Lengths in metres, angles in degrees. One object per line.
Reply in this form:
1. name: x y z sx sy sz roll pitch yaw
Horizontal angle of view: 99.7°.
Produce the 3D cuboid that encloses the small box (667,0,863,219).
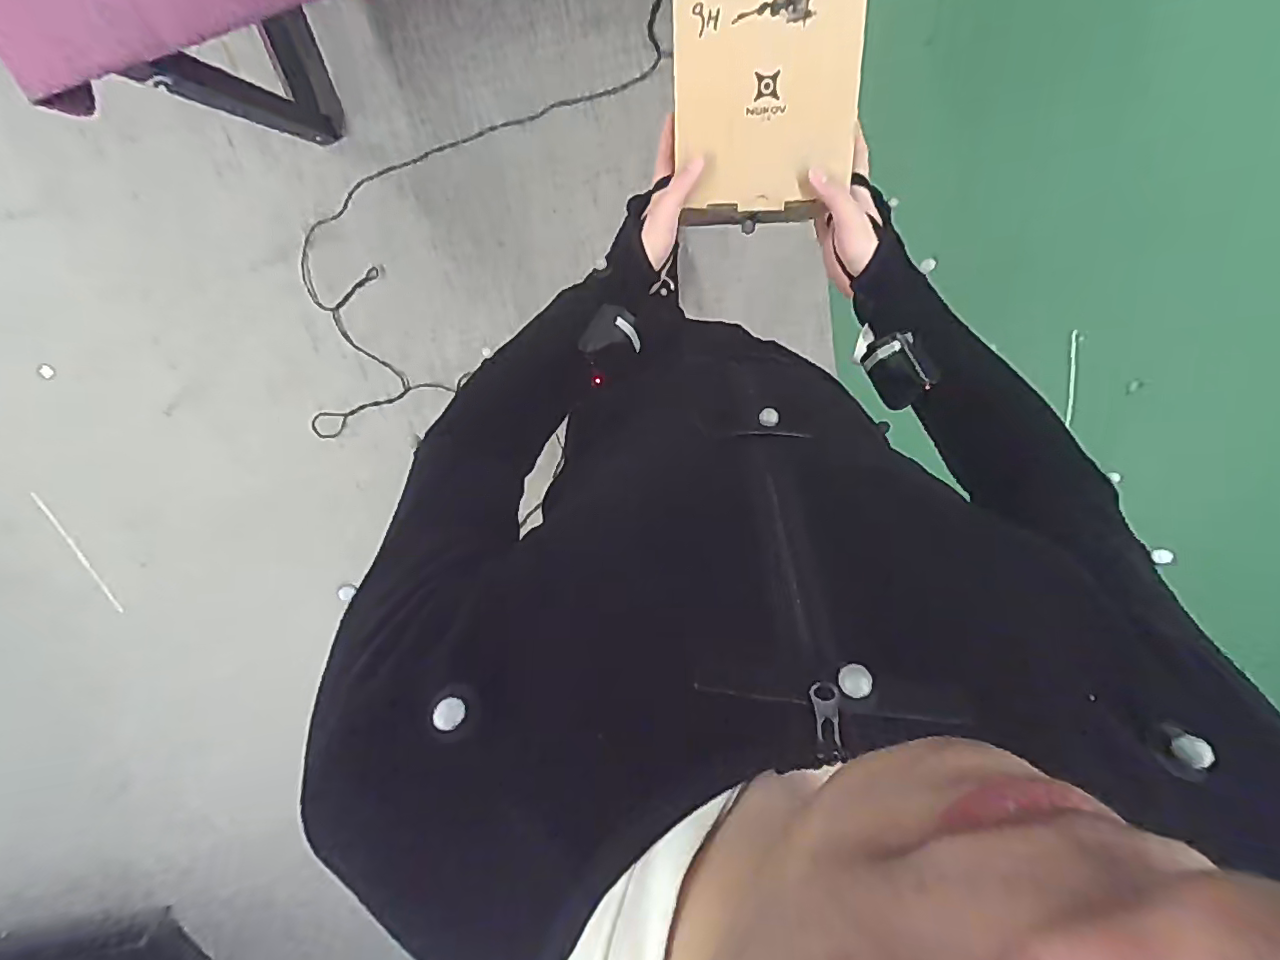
1. small box: 0.113 -0.370 0.554 0.168 0.176 0.179 0 111 4
